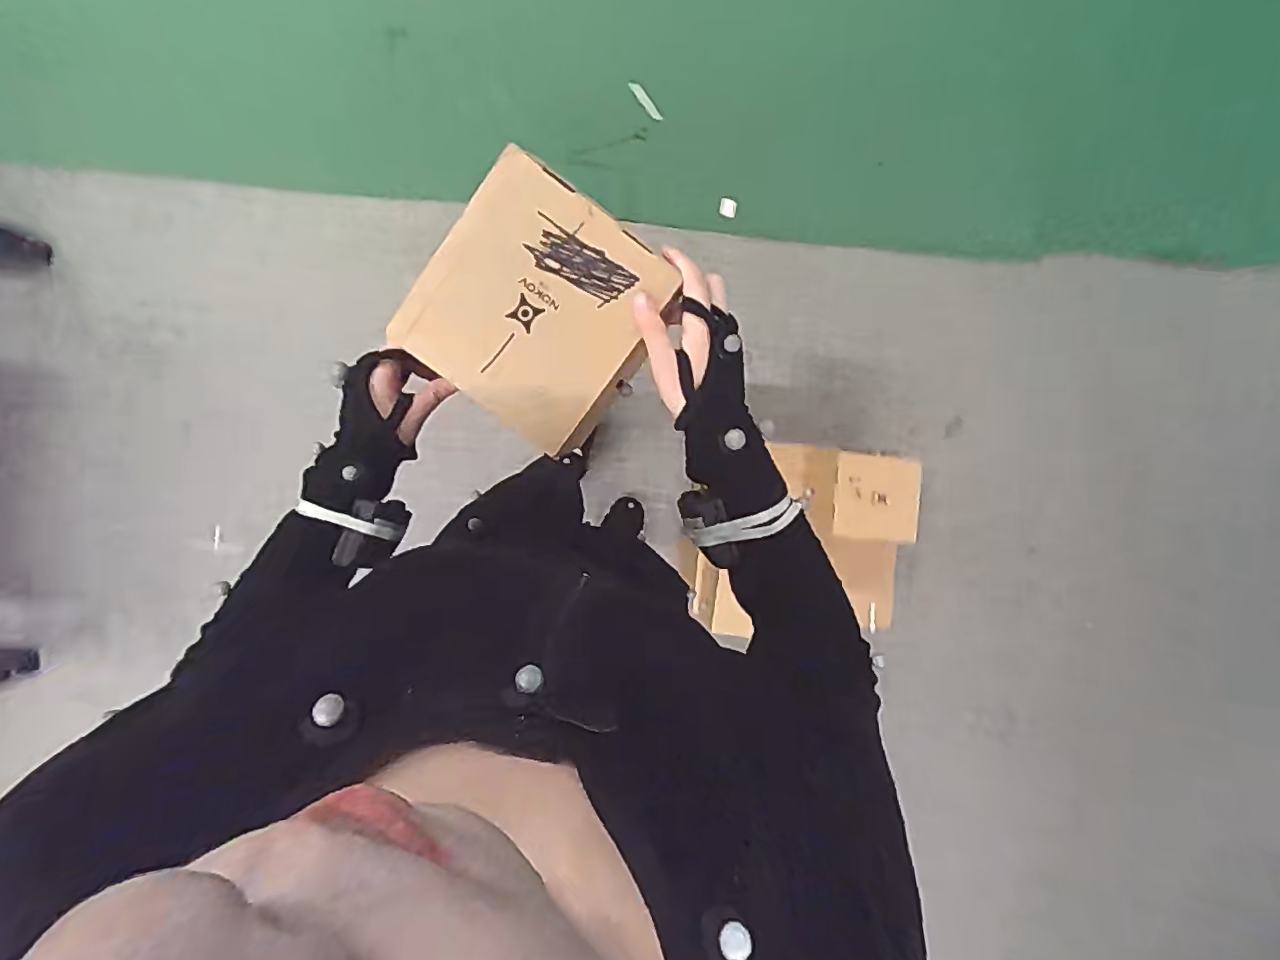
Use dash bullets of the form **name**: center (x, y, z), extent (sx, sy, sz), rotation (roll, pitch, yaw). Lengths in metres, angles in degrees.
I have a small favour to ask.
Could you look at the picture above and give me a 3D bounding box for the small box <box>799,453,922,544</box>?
- **small box**: center (0.459, 0.036, 1.142), extent (0.179, 0.176, 0.168), rotation (6, 88, -5)
